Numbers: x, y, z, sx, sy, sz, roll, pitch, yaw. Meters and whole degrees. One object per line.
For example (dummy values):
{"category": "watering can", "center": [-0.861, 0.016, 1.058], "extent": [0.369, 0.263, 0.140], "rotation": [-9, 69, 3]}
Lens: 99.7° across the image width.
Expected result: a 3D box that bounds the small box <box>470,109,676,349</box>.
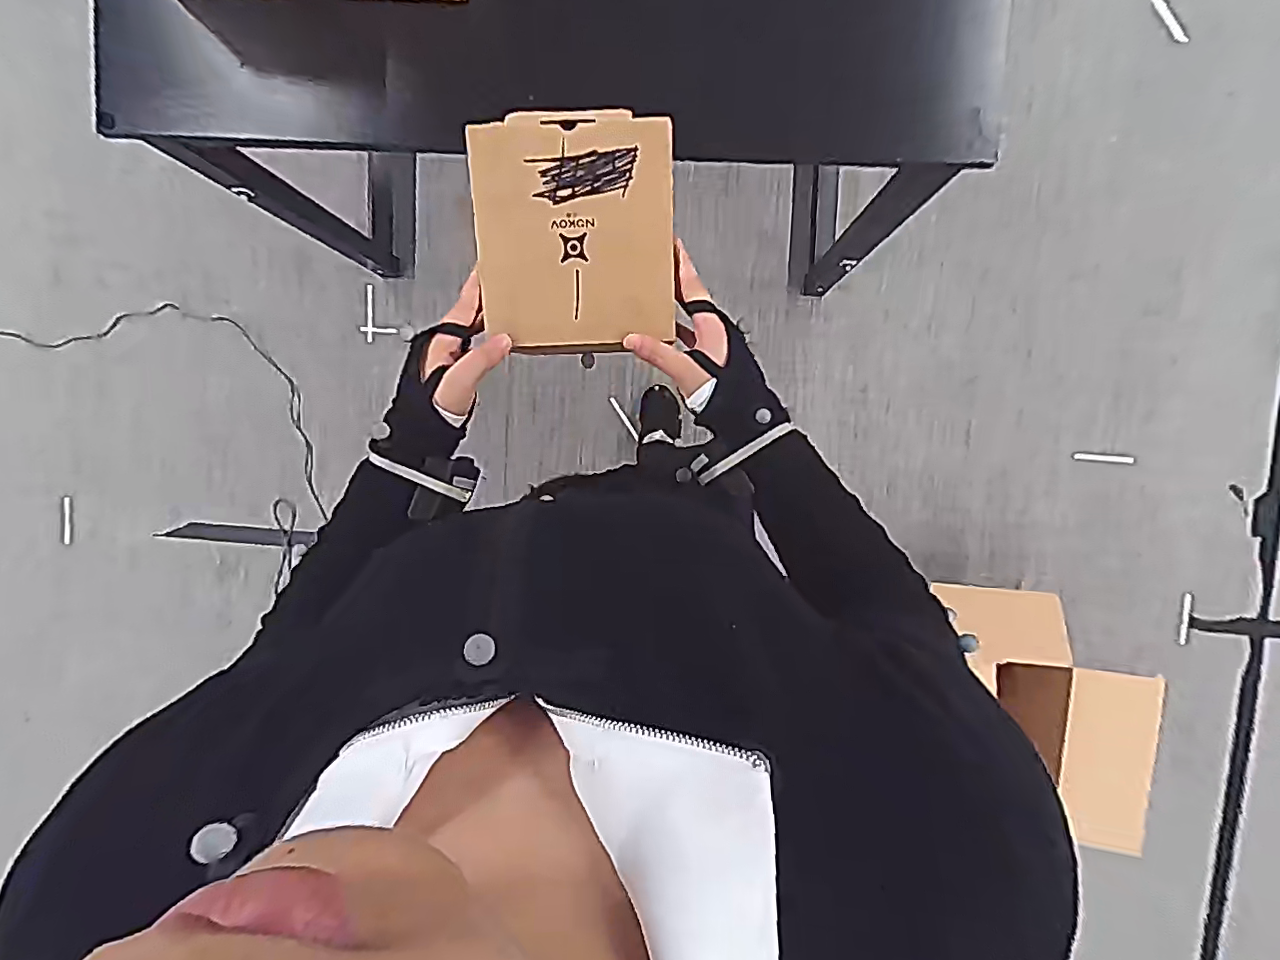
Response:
{"category": "small box", "center": [-0.053, -0.222, 0.522], "extent": [0.168, 0.176, 0.179], "rotation": [-2, 101, 1]}
